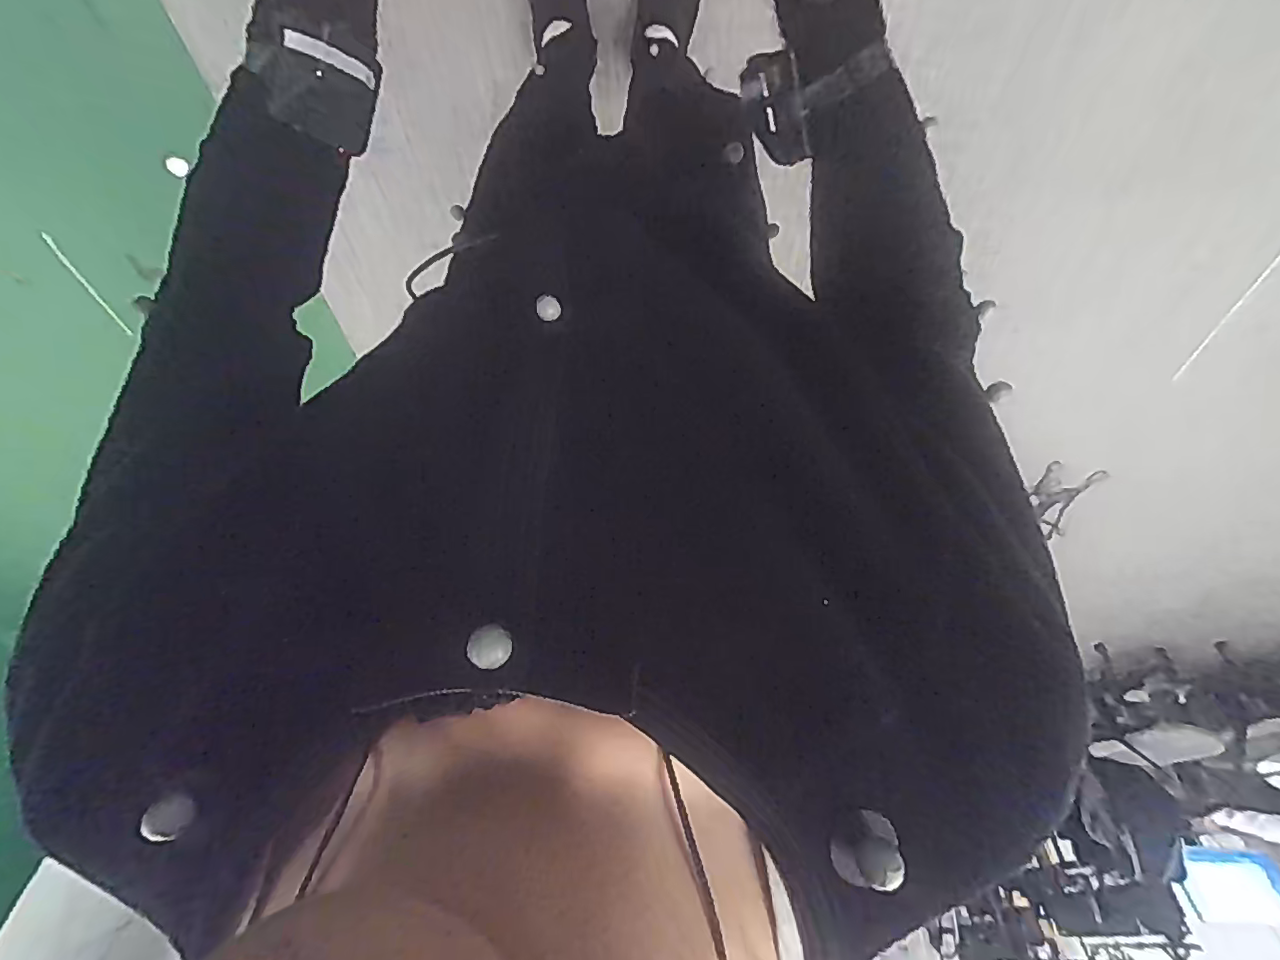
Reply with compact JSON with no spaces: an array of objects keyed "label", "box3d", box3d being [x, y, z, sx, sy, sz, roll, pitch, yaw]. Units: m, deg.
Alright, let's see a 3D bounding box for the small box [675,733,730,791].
[{"label":"small box","box3d":[0.239,1.105,2.119,0.179,0.176,0.168,9,137,-7]}]
